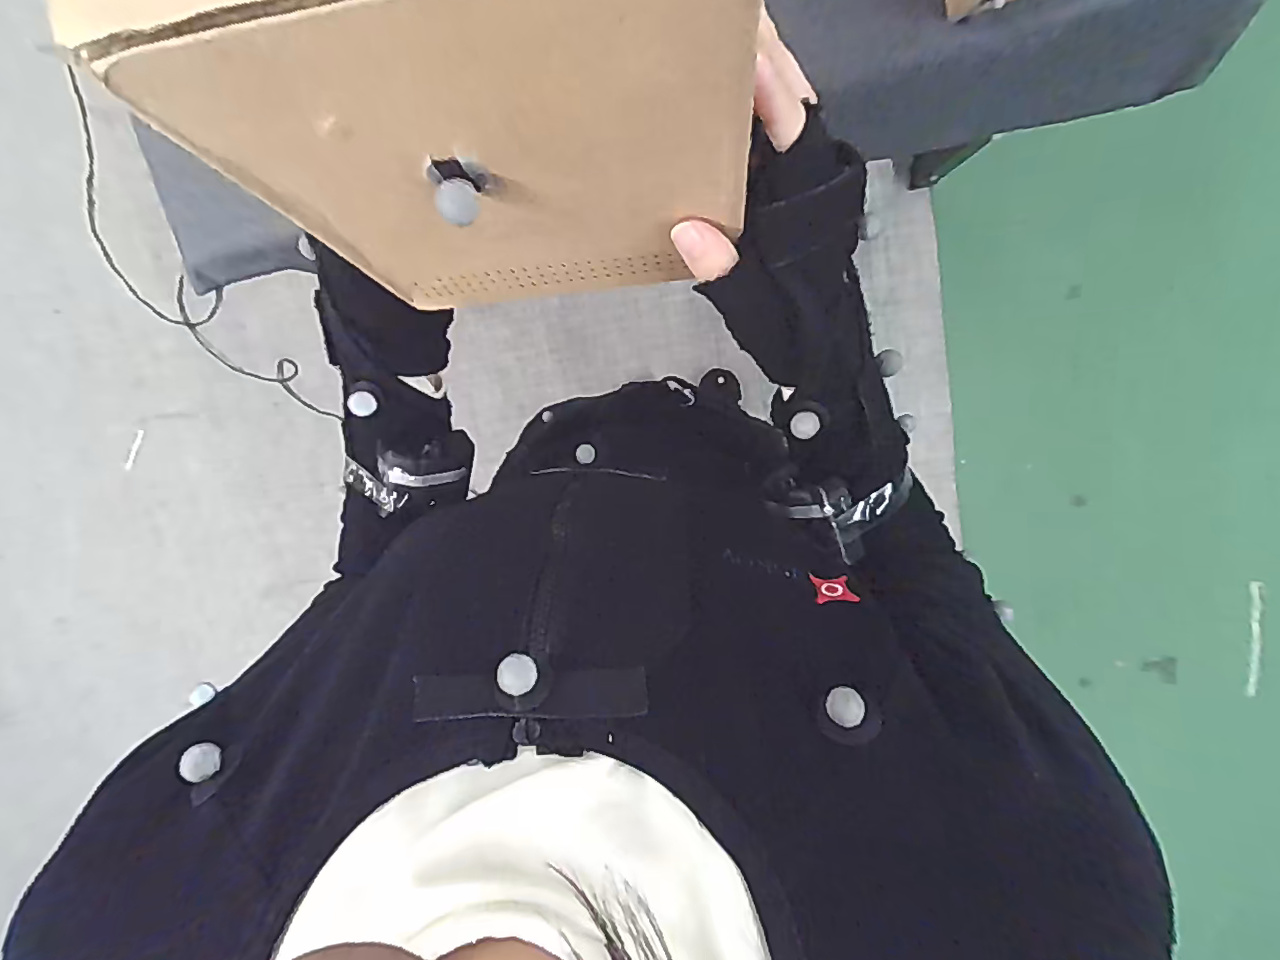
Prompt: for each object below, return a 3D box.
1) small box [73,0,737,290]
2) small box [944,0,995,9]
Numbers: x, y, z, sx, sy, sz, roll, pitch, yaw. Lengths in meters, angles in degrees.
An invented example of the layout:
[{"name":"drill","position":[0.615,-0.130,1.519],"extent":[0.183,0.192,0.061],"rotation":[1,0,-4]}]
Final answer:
[{"name":"small box","position":[-0.054,-0.192,0.215],"extent":[0.179,0.176,0.168],"rotation":[-4,85,9]},{"name":"small box","position":[0.354,-0.551,0.452],"extent":[0.168,0.176,0.179],"rotation":[-14,99,9]}]
